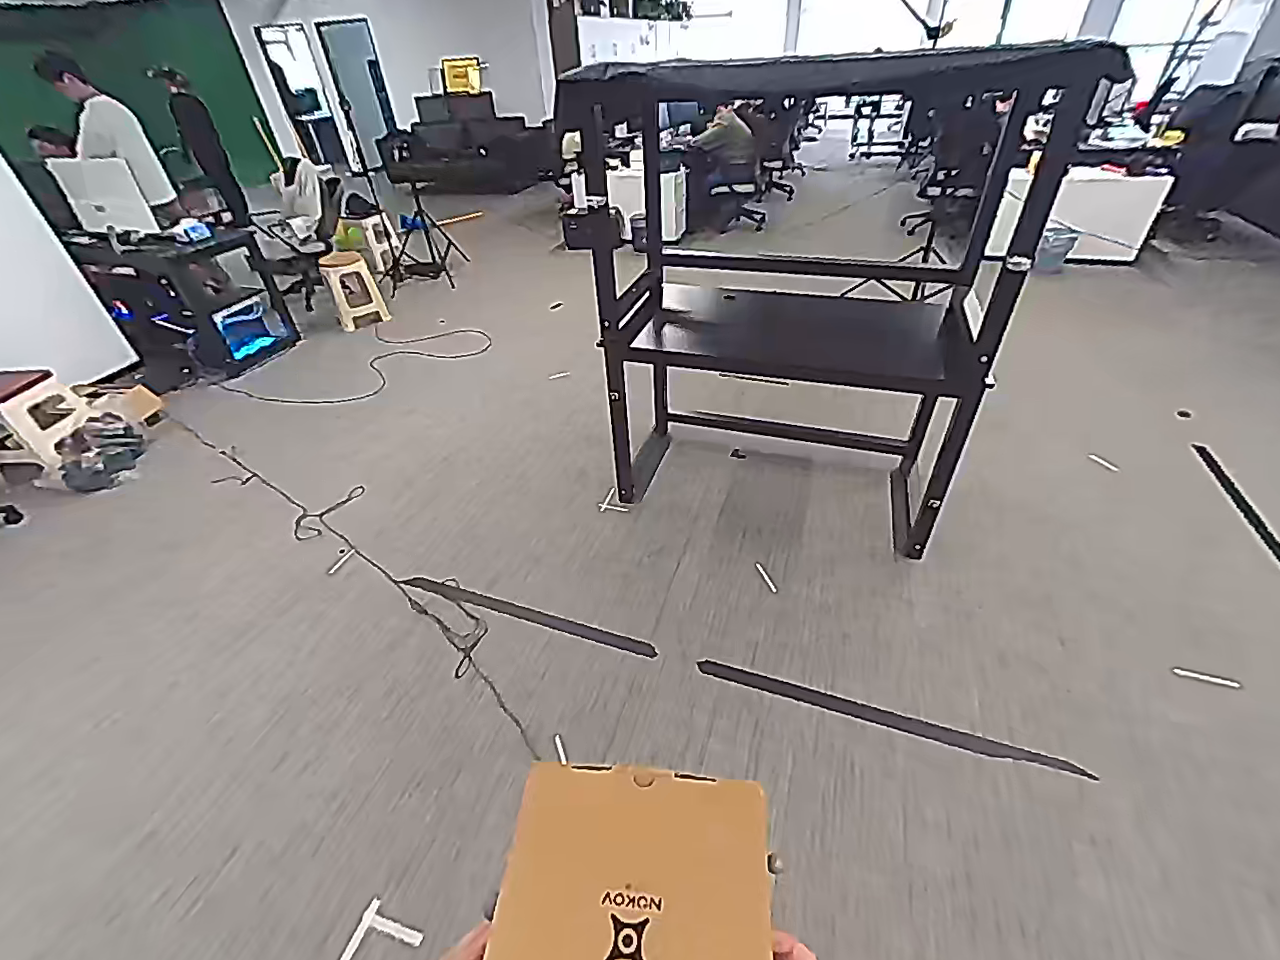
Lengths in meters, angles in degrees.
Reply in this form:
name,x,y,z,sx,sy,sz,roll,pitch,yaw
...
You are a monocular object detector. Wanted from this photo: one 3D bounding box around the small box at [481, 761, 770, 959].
name,x,y,z,sx,sy,sz,roll,pitch,yaw
small box,-0.003,0.320,0.367,0.168,0.176,0.179,2,41,6
